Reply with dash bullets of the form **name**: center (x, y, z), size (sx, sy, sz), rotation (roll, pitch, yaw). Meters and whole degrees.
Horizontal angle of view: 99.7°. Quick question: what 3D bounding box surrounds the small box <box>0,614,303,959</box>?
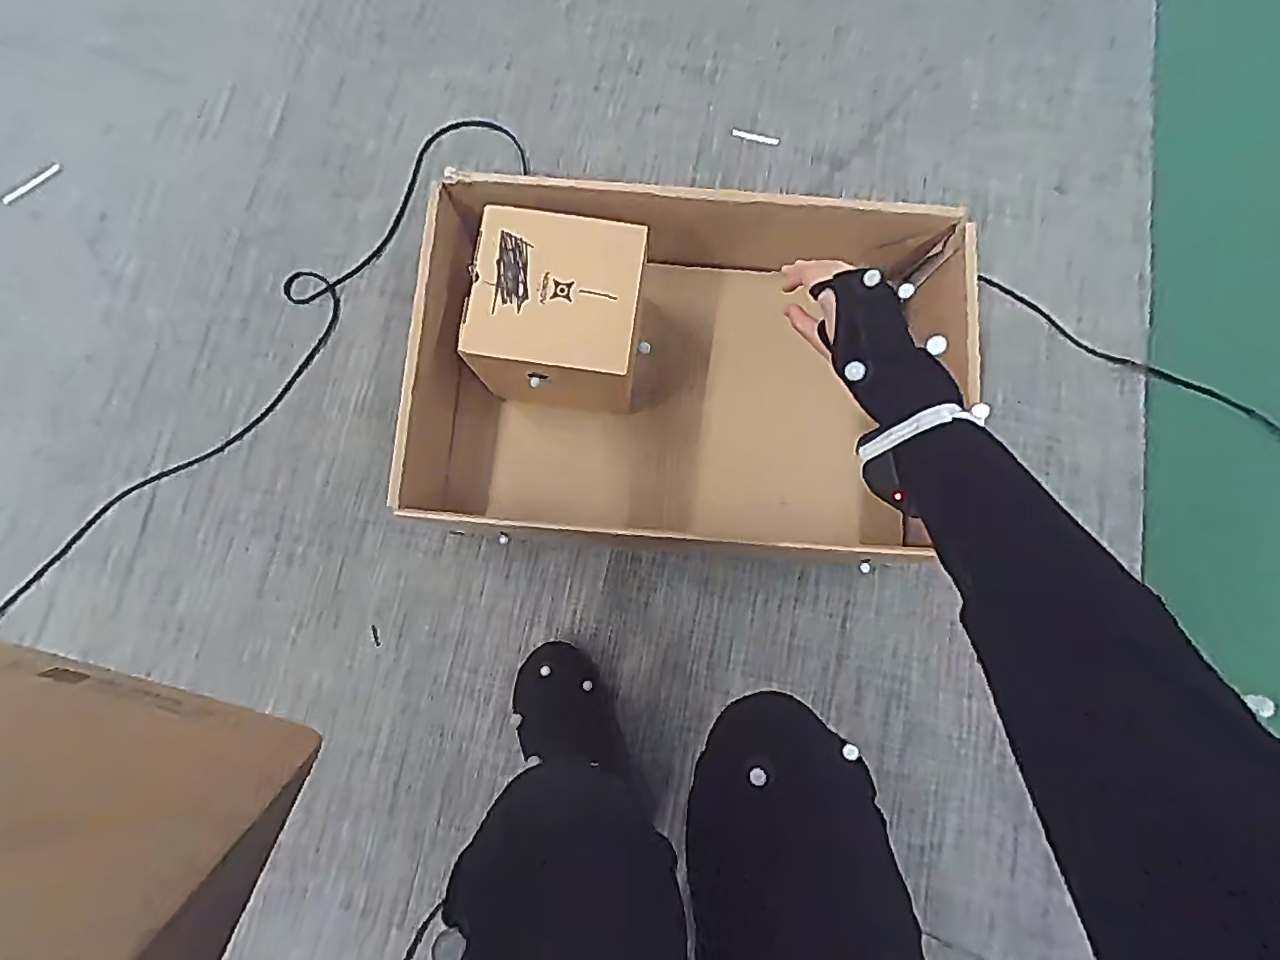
- **small box**: center (-0.231, 0.151, 0.149), size (0.168, 0.176, 0.179), rotation (25, 76, -13)
